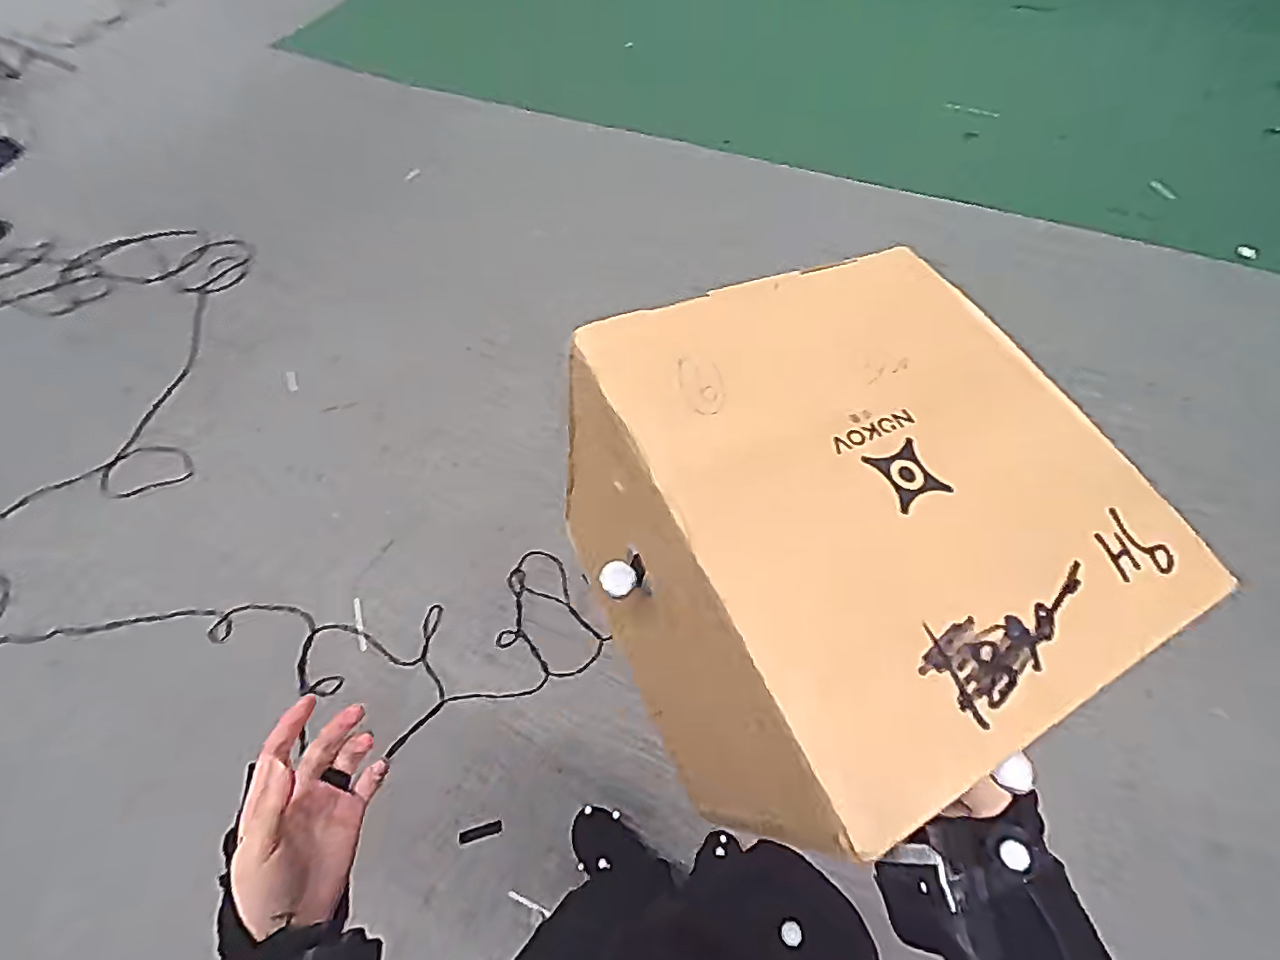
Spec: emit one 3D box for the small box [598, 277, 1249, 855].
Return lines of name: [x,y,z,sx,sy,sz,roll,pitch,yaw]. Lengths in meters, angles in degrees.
small box: [0.087,0.040,0.260,0.168,0.176,0.179,-21,66,-18]
